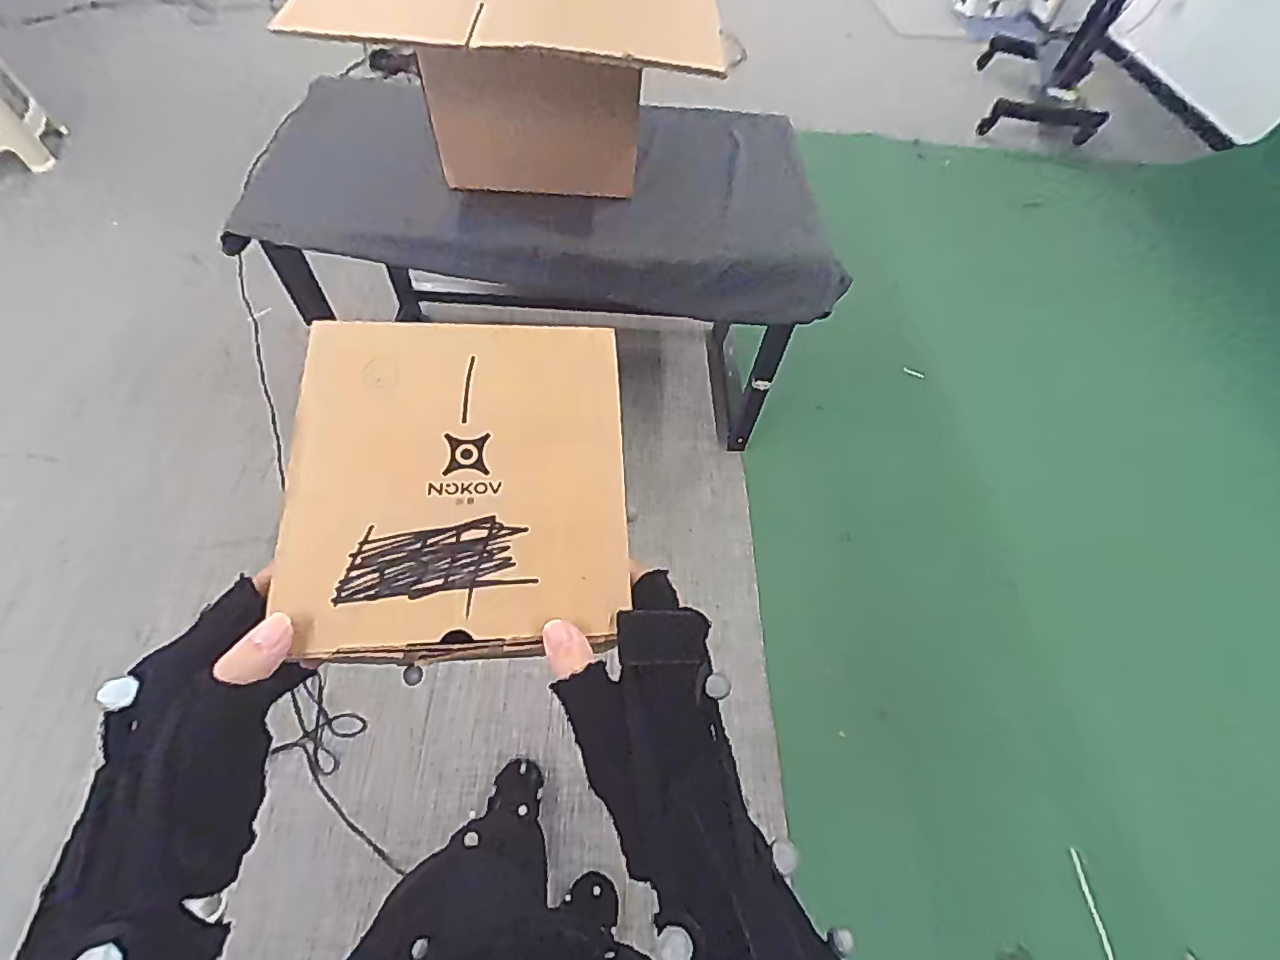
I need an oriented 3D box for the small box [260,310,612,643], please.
[{"bbox_3d":[-0.106,0.013,0.356,0.168,0.176,0.179,-1,71,-8],"label":"small box"}]
